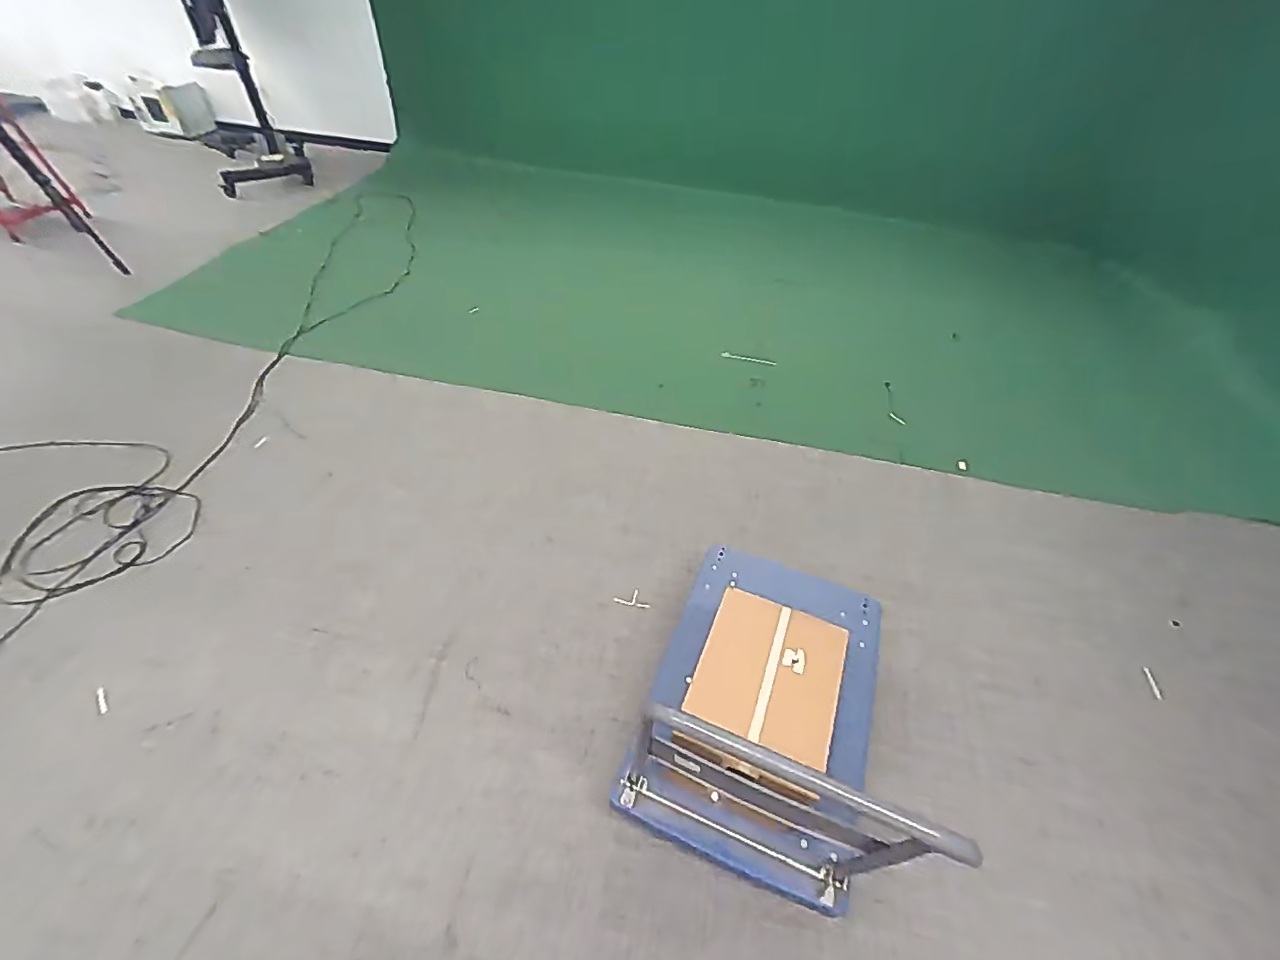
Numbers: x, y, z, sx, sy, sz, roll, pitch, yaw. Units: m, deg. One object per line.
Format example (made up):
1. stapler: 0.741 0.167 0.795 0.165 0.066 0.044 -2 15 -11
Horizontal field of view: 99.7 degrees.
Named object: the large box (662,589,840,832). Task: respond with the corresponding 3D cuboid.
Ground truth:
1. large box: 0.269 0.559 1.332 0.320 0.320 0.408 19 46 13
